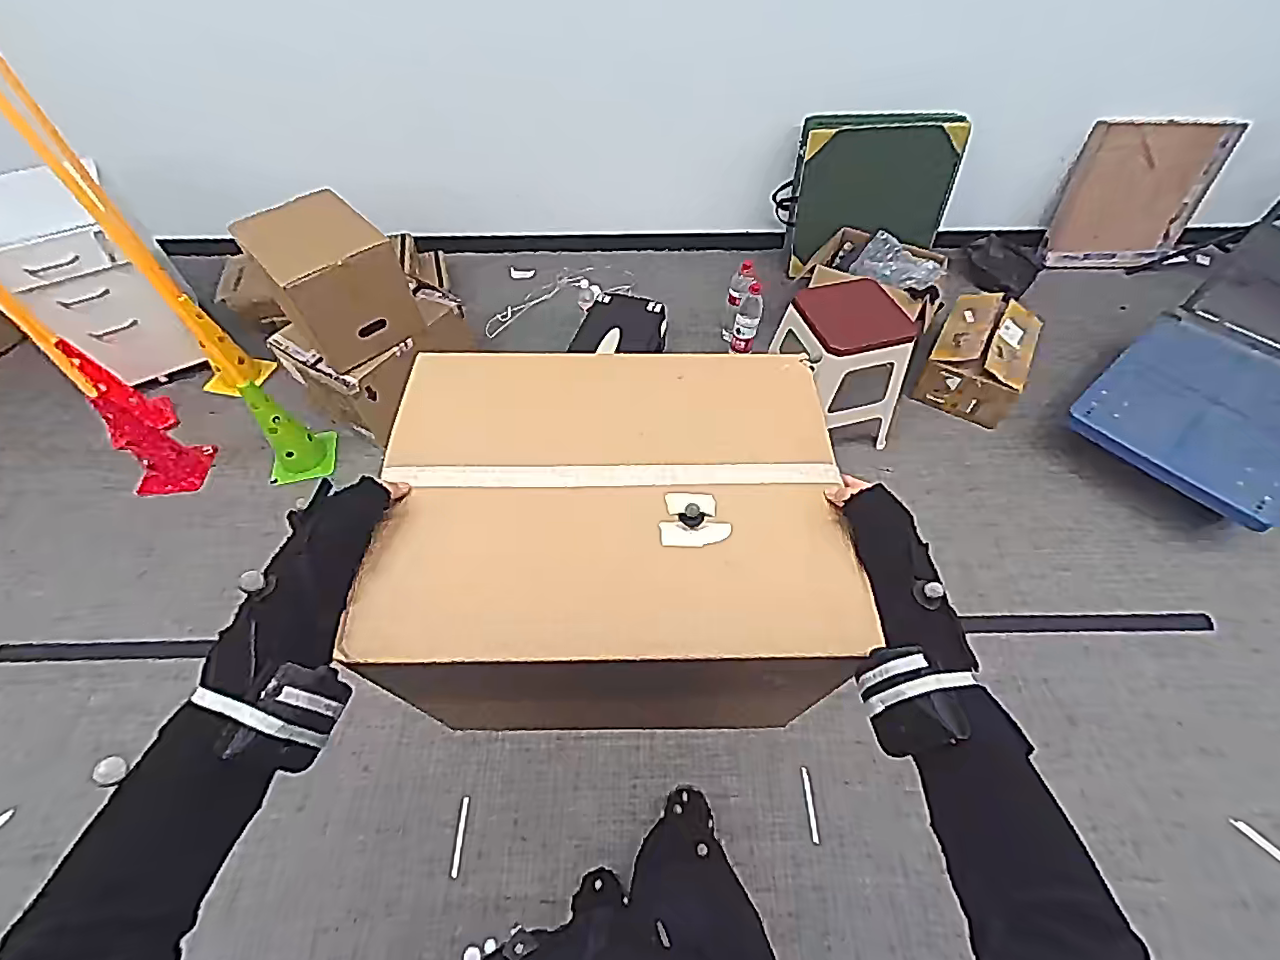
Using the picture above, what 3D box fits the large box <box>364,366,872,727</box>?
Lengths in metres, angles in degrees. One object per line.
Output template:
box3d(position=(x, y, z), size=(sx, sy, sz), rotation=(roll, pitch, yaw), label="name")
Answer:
box3d(position=(-0.023, 0.086, 0.621), size=(0.408, 0.320, 0.320), rotation=(0, 56, -2), label="large box")
